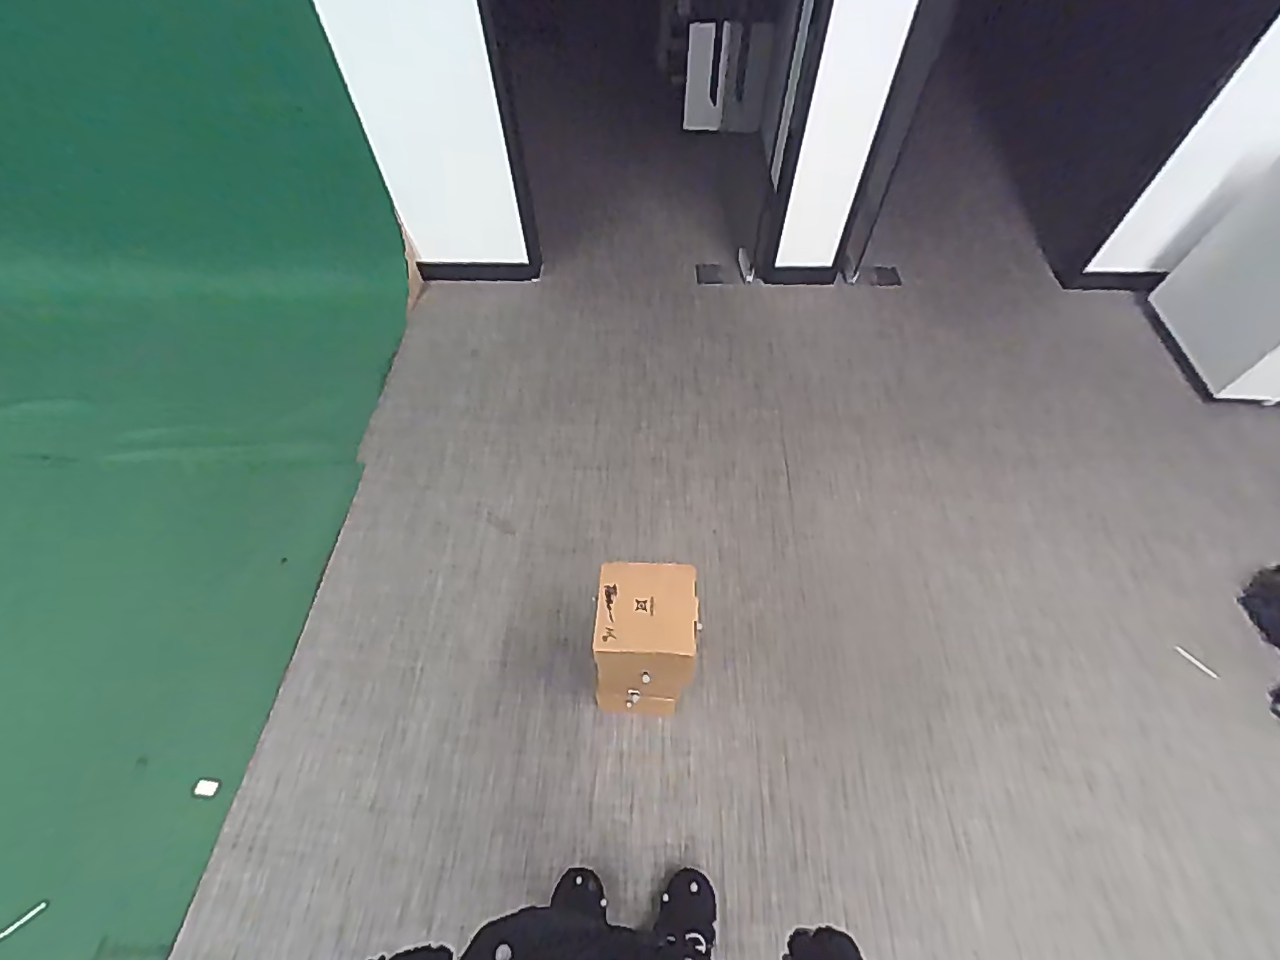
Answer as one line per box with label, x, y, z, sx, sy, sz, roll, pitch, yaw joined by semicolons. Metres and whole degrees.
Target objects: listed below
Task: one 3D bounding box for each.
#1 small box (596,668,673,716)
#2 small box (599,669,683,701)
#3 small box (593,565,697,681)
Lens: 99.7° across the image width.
small box;-0.004;0.456;1.291;0.179;0.176;0.168;4;56;3
small box;0.008;0.362;1.160;0.168;0.176;0.179;2;57;4
small box;0.013;0.274;1.021;0.179;0.176;0.168;2;56;3
